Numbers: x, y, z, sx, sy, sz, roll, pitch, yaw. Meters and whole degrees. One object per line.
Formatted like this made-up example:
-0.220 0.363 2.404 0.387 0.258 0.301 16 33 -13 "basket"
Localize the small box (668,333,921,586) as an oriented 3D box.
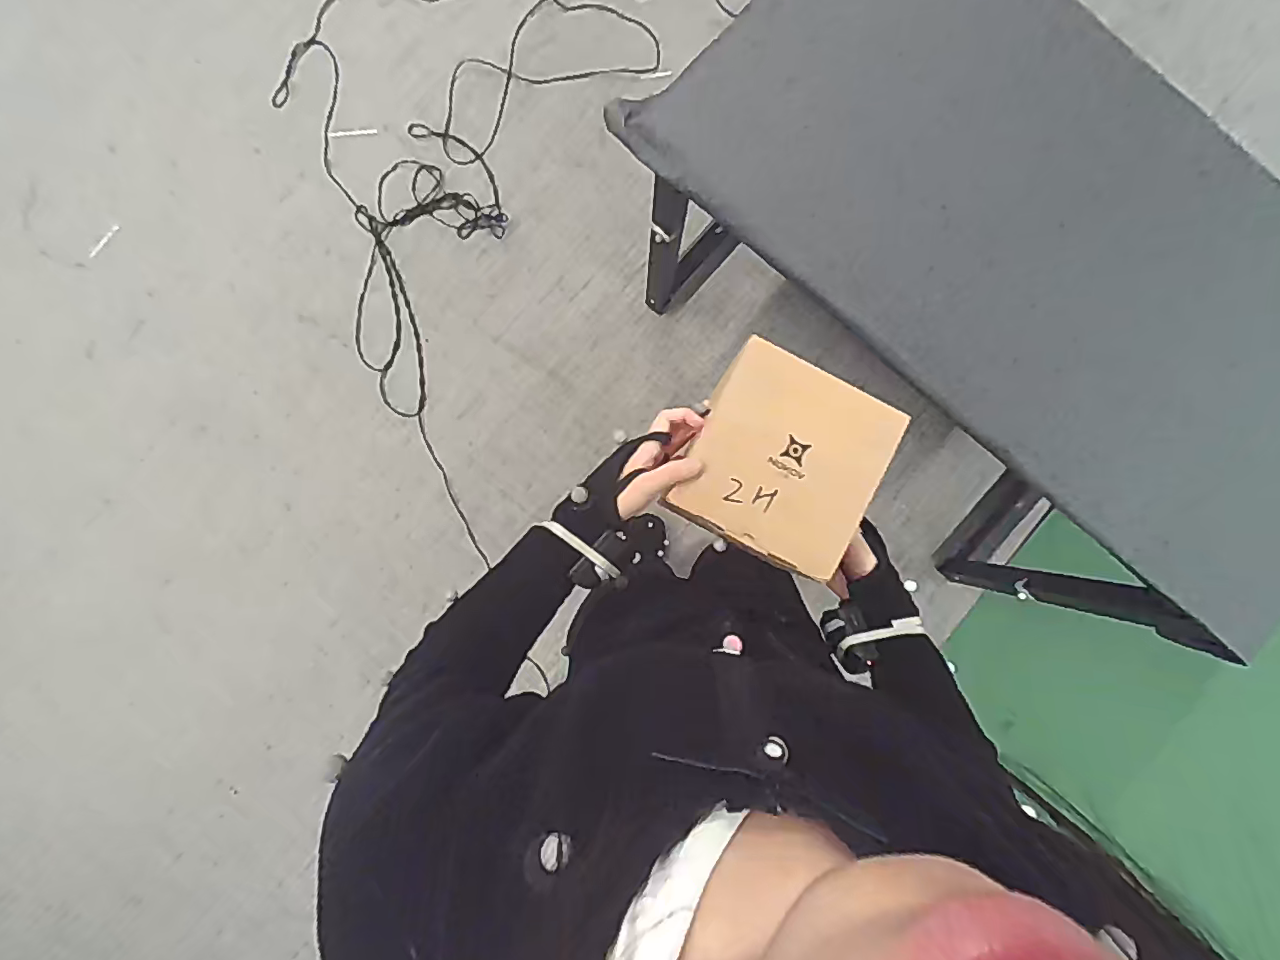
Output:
0.140 -0.014 0.559 0.168 0.176 0.179 29 85 0 "small box"
